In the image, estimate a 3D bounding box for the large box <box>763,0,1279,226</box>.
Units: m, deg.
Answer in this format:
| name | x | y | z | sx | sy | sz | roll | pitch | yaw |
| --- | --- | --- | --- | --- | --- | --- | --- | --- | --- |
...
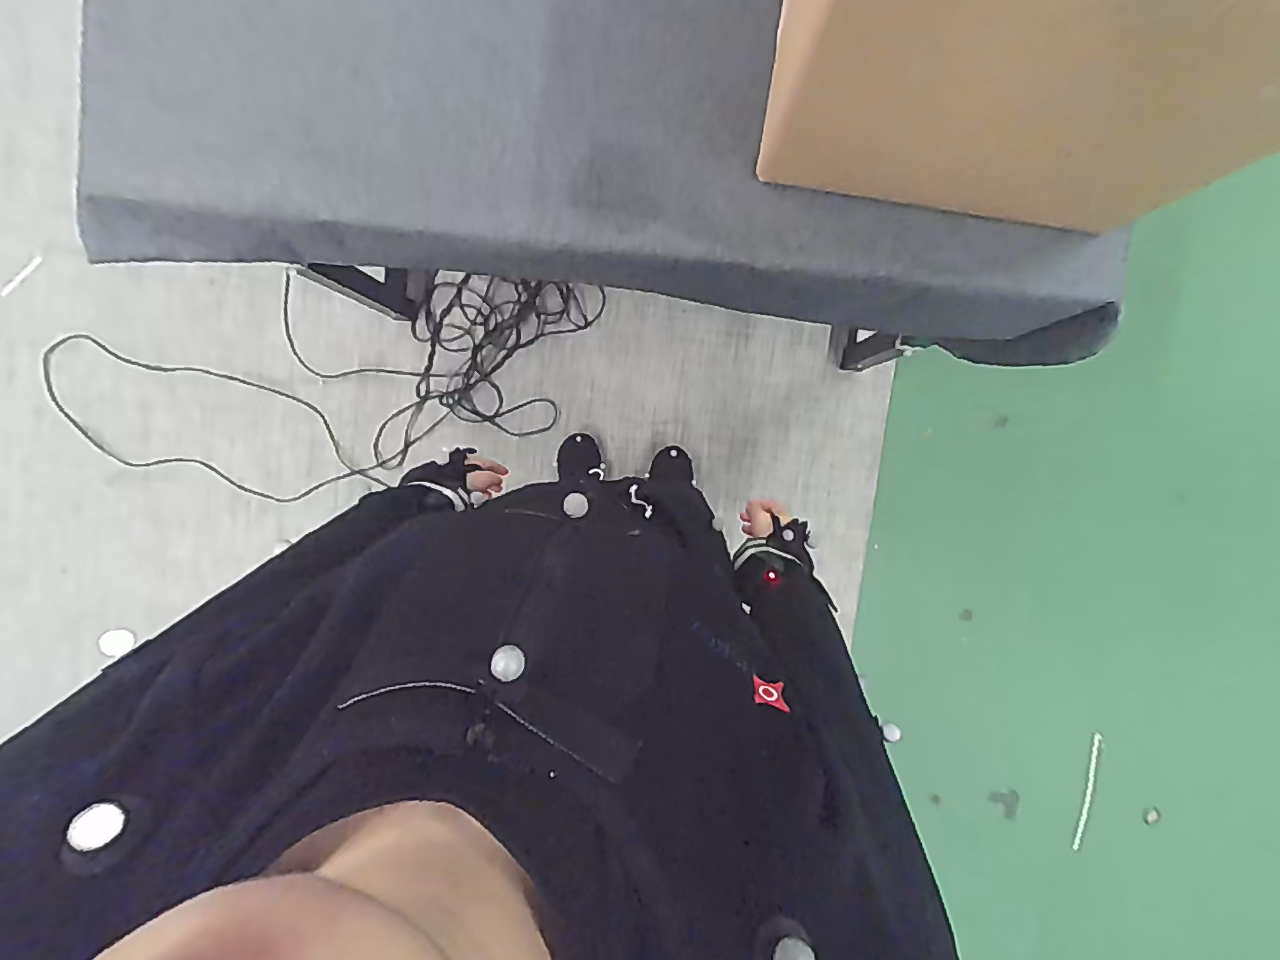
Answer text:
| name | x | y | z | sx | sy | sz | roll | pitch | yaw |
| --- | --- | --- | --- | --- | --- | --- | --- | --- | --- |
| large box | 0.350 | -0.453 | 0.457 | 0.408 | 0.320 | 0.320 | 9 | 94 | -1 |
